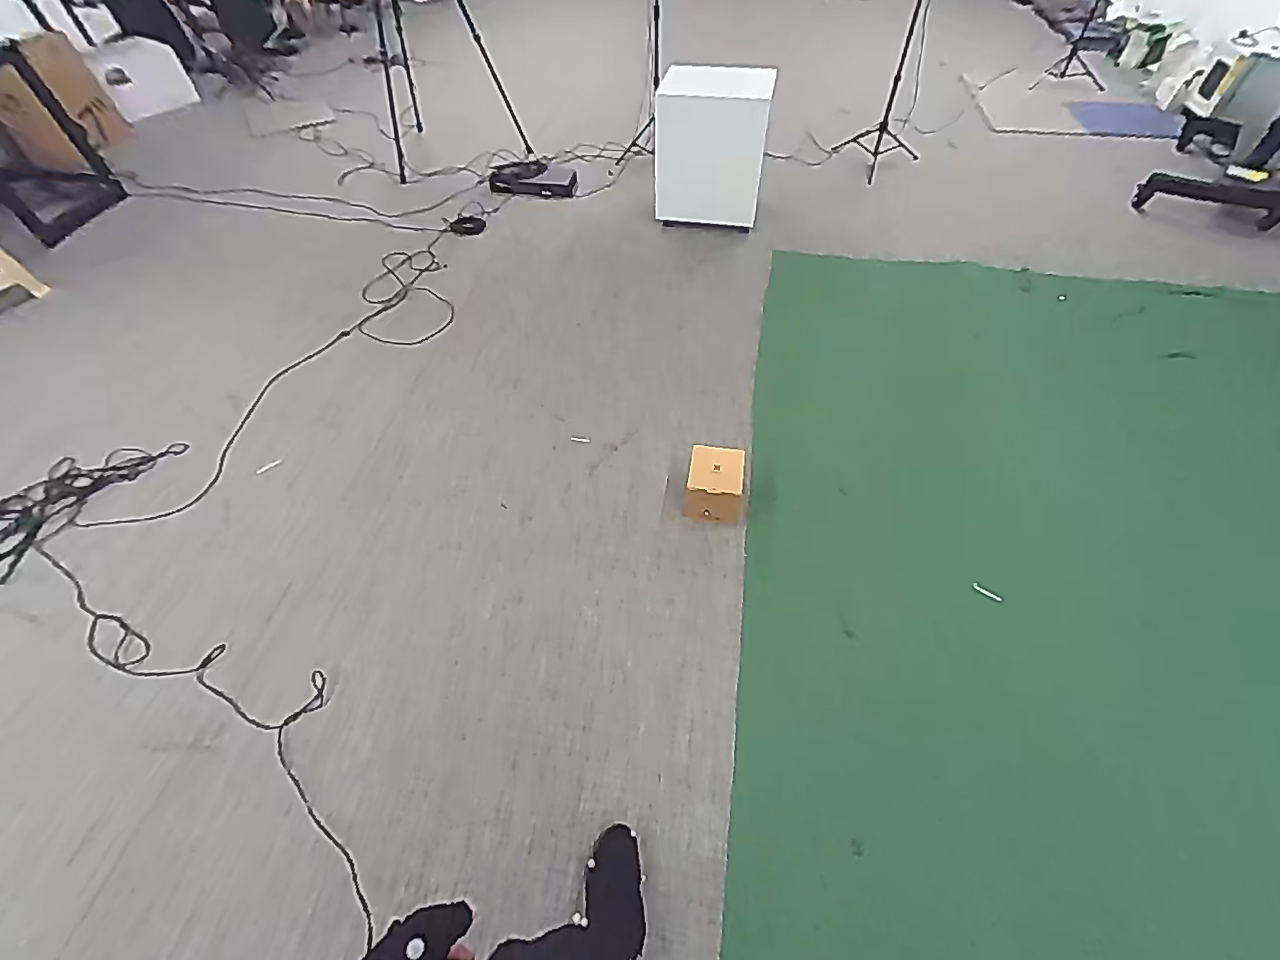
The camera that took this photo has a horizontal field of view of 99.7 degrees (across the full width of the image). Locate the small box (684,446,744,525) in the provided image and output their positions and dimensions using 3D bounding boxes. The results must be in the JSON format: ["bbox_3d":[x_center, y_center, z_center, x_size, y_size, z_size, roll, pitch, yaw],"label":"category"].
[{"bbox_3d":[0.232,0.020,1.720,0.168,0.176,0.179,7,53,7],"label":"small box"}]
